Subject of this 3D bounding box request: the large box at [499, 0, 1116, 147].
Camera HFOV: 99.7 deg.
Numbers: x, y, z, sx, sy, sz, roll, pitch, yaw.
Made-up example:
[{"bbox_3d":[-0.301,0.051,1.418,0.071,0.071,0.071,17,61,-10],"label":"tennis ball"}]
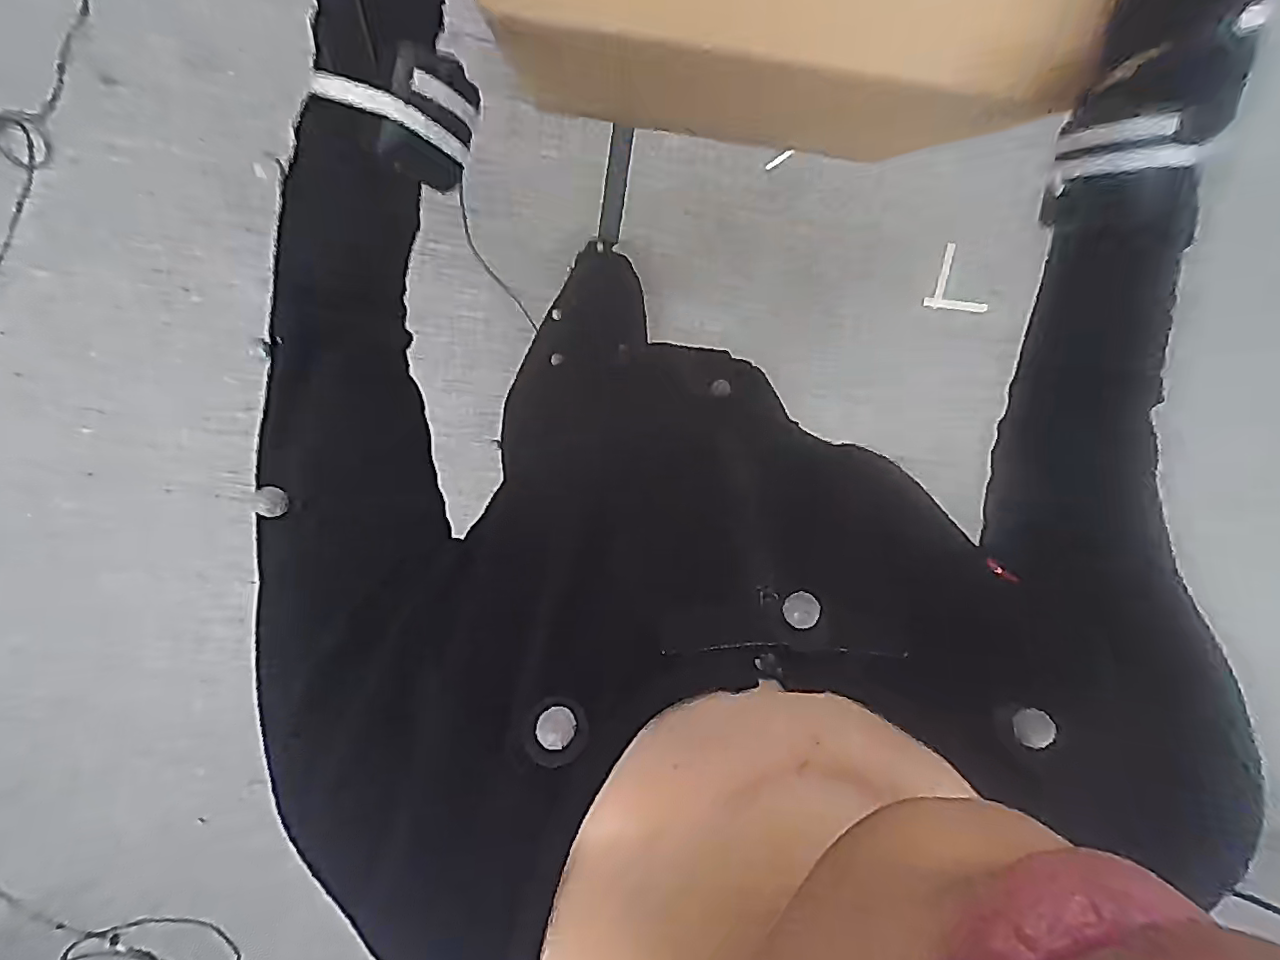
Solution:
[{"bbox_3d":[0.107,-0.478,0.418,0.408,0.320,0.320,4,115,-7],"label":"large box"}]
